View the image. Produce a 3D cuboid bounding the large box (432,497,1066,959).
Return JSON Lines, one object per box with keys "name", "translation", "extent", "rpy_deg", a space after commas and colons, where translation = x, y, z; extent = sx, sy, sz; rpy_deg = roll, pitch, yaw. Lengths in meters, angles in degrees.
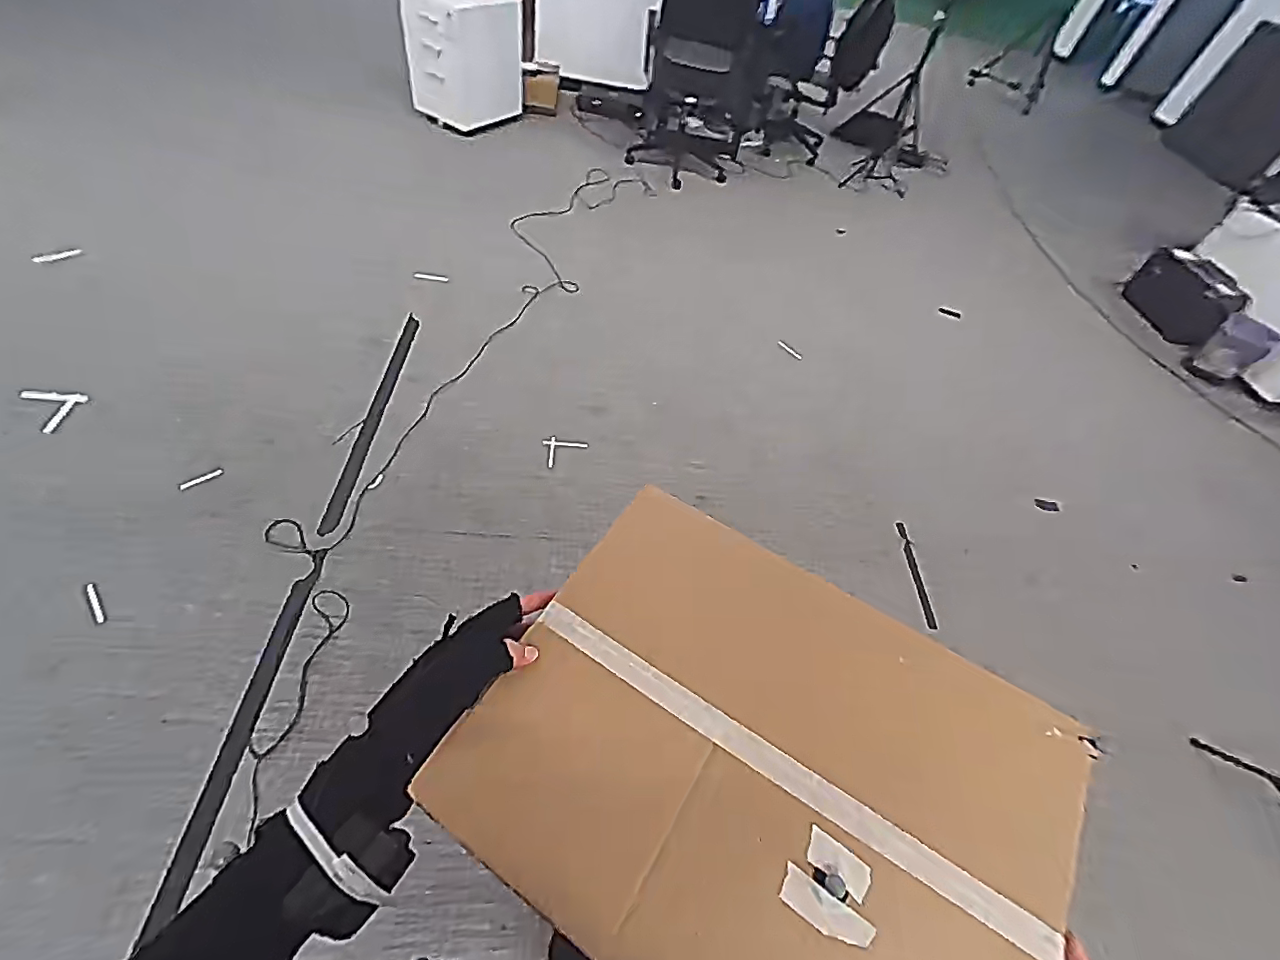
{"name": "large box", "translation": [0.086, 0.291, 0.531], "extent": [0.408, 0.320, 0.320], "rpy_deg": [30, 59, 16]}
